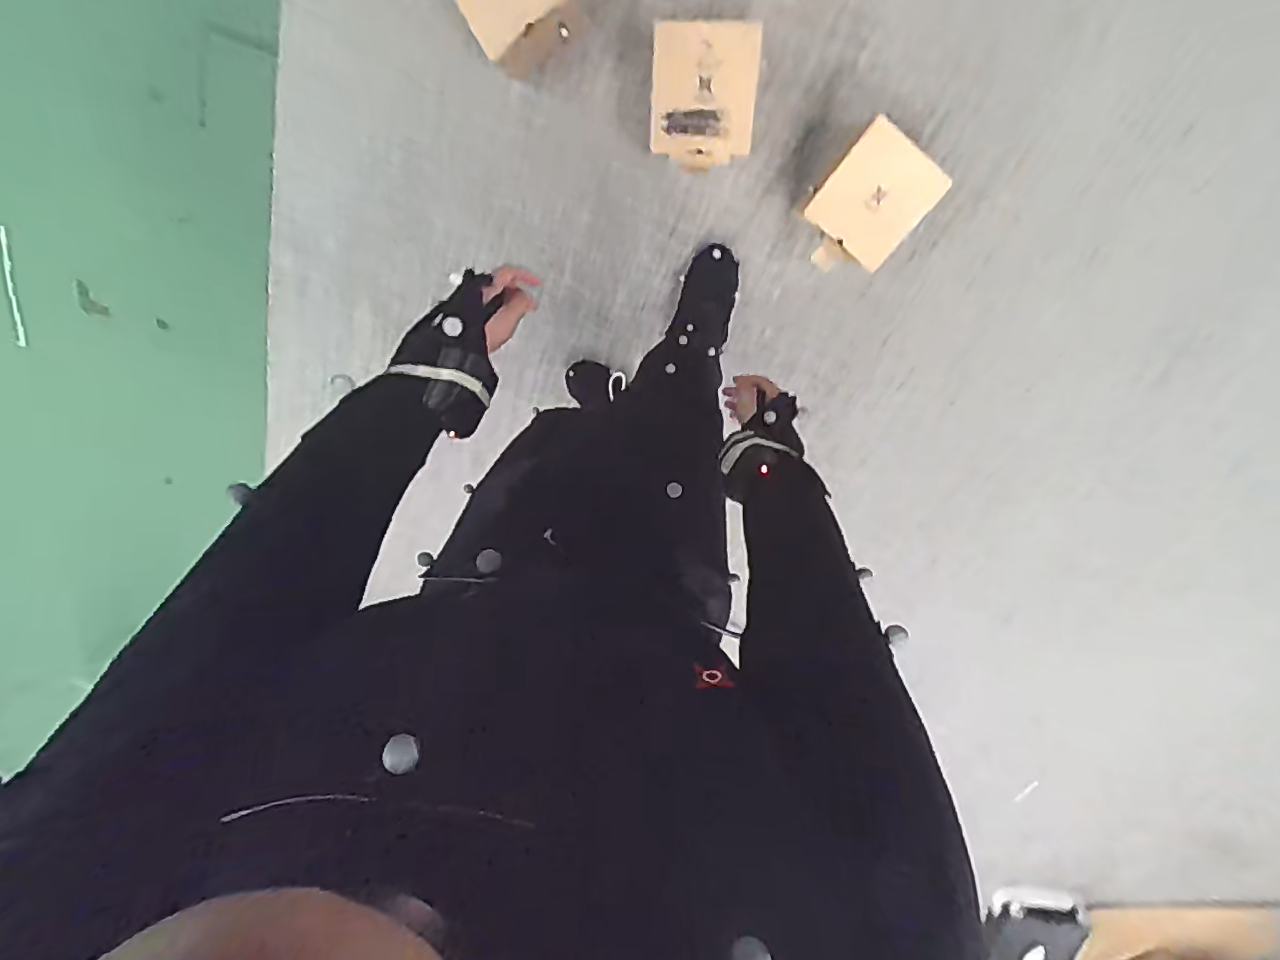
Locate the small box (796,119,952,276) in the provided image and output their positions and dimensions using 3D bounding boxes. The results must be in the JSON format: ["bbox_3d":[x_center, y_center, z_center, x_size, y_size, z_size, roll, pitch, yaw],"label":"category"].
[{"bbox_3d":[0.400,-0.498,0.963,0.168,0.176,0.179,35,117,-11],"label":"small box"}]

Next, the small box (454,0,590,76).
[{"bbox_3d":[-0.203,-0.804,0.885,0.168,0.176,0.179,-27,110,19],"label":"small box"}]
